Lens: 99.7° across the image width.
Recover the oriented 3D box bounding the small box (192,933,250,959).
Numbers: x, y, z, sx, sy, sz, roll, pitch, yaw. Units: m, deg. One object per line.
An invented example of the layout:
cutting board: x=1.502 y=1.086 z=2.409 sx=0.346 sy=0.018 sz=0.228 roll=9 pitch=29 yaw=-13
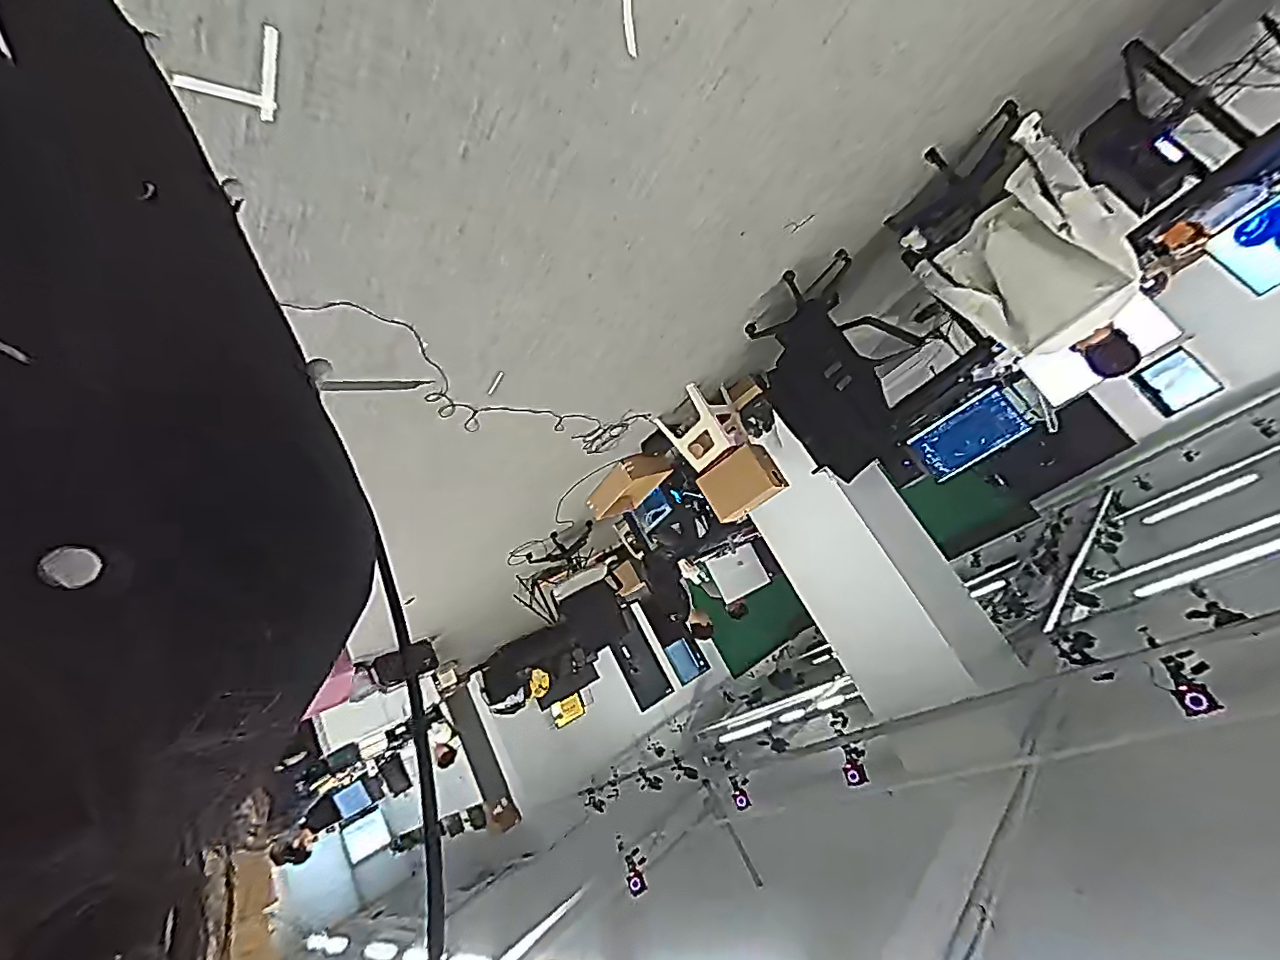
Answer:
small box: x=-1.343 y=1.580 z=1.711 sx=0.179 sy=0.176 sz=0.168 roll=-13 pitch=155 yaw=-43
